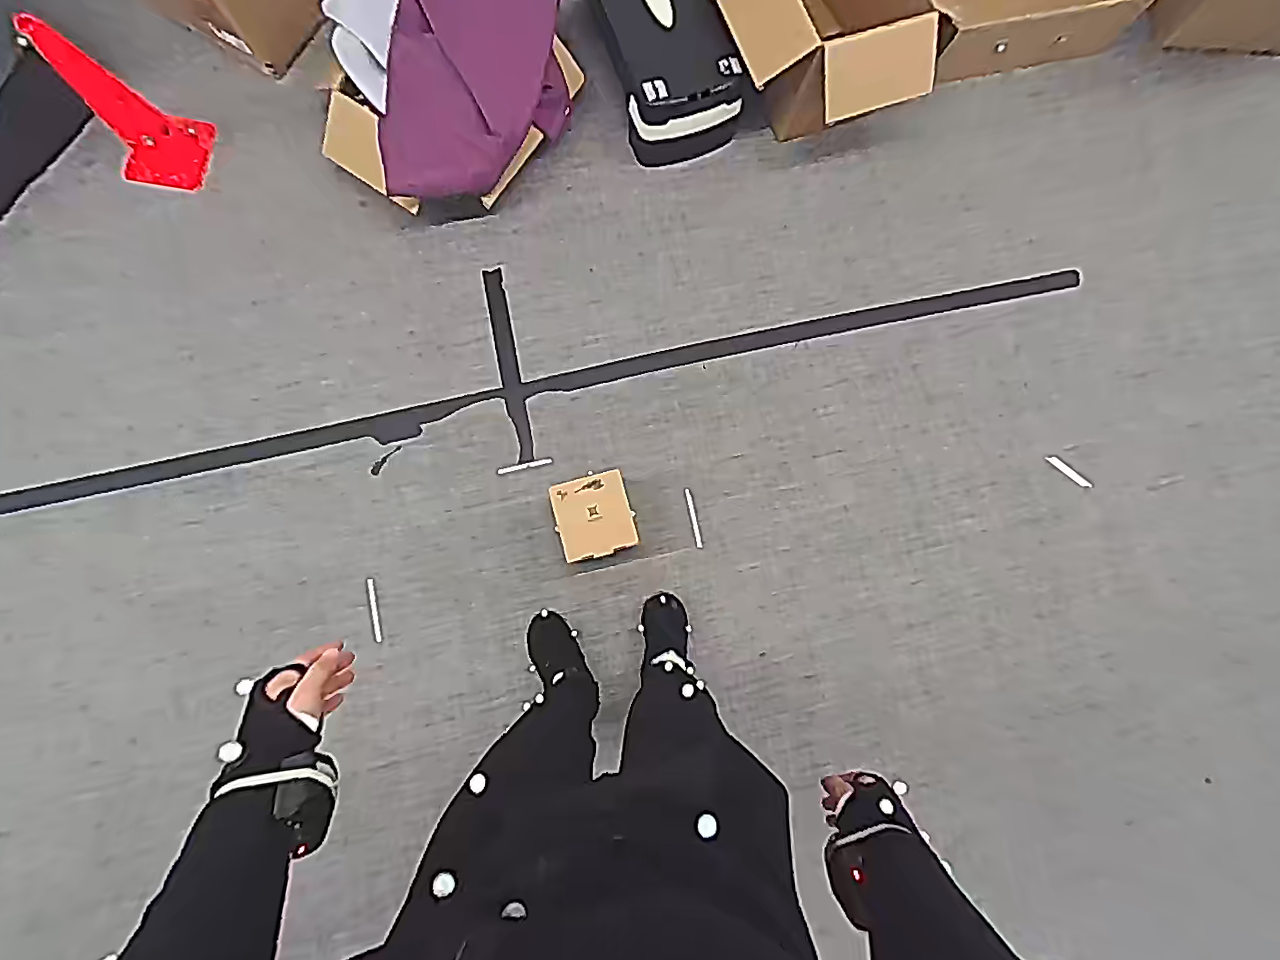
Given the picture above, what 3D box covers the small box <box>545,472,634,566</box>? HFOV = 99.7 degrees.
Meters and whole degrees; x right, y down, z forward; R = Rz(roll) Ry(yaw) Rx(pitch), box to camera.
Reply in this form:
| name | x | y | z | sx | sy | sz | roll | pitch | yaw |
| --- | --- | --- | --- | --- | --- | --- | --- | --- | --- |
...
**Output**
| name | x | y | z | sx | sy | sz | roll | pitch | yaw |
| --- | --- | --- | --- | --- | --- | --- | --- | --- | --- |
| small box | -0.114 | 0.092 | 1.262 | 0.168 | 0.176 | 0.179 | -15 | 84 | -5 |
